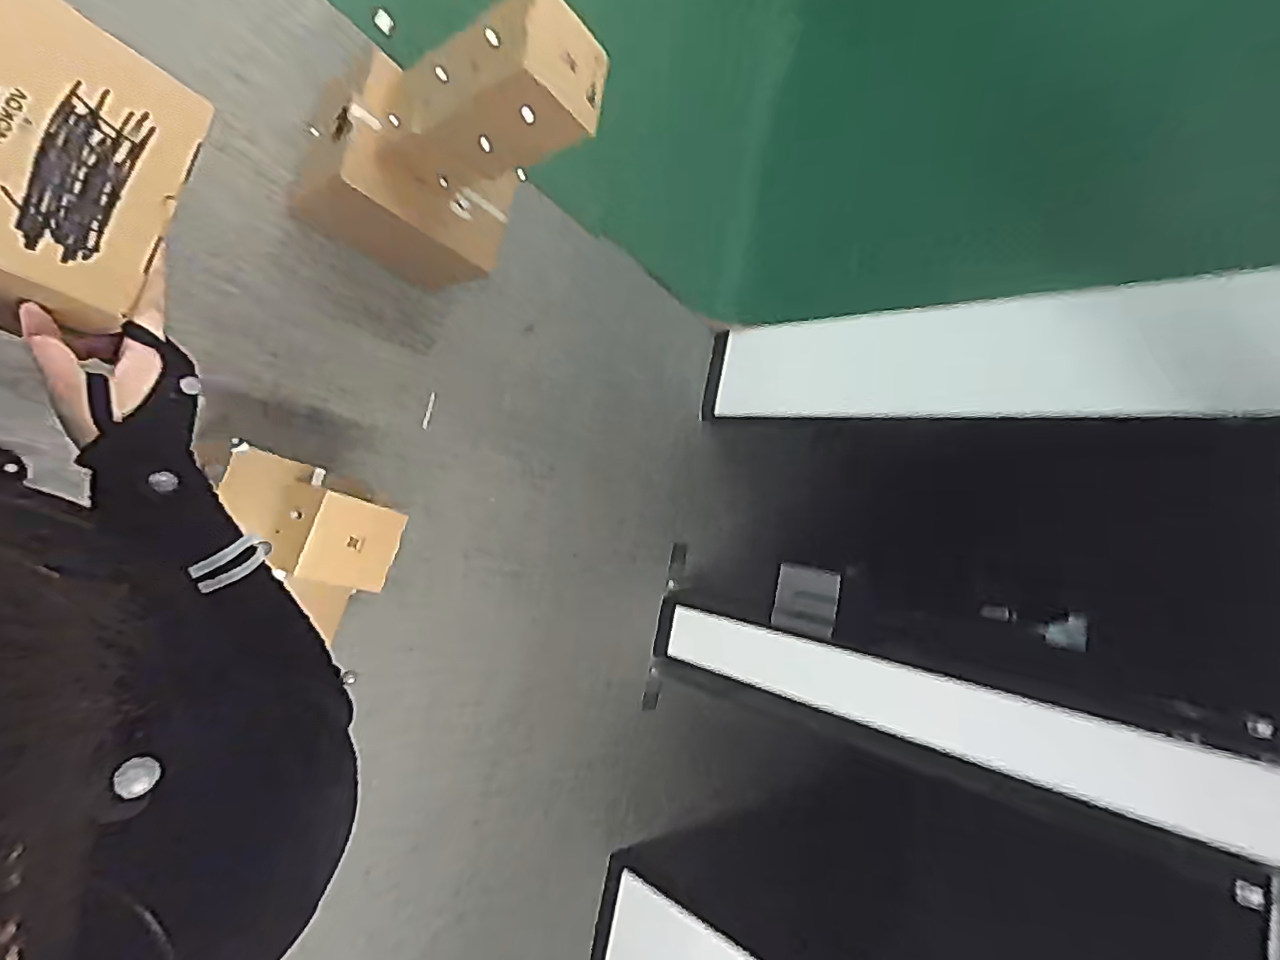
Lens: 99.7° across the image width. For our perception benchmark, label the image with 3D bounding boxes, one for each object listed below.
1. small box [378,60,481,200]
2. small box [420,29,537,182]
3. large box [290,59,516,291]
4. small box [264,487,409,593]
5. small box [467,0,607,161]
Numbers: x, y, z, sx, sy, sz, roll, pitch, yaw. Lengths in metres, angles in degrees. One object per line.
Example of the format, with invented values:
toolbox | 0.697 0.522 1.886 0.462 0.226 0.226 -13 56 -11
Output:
small box | -0.448 -0.753 1.190 0.168 0.176 0.179 18 79 -51
small box | -0.317 -0.738 1.094 0.179 0.176 0.168 12 85 -52
large box | -0.600 -0.740 1.394 0.408 0.320 0.320 20 79 -51
small box | -0.614 0.118 1.092 0.179 0.176 0.168 31 70 -51
small box | -0.189 -0.724 0.990 0.179 0.176 0.168 15 83 -51
